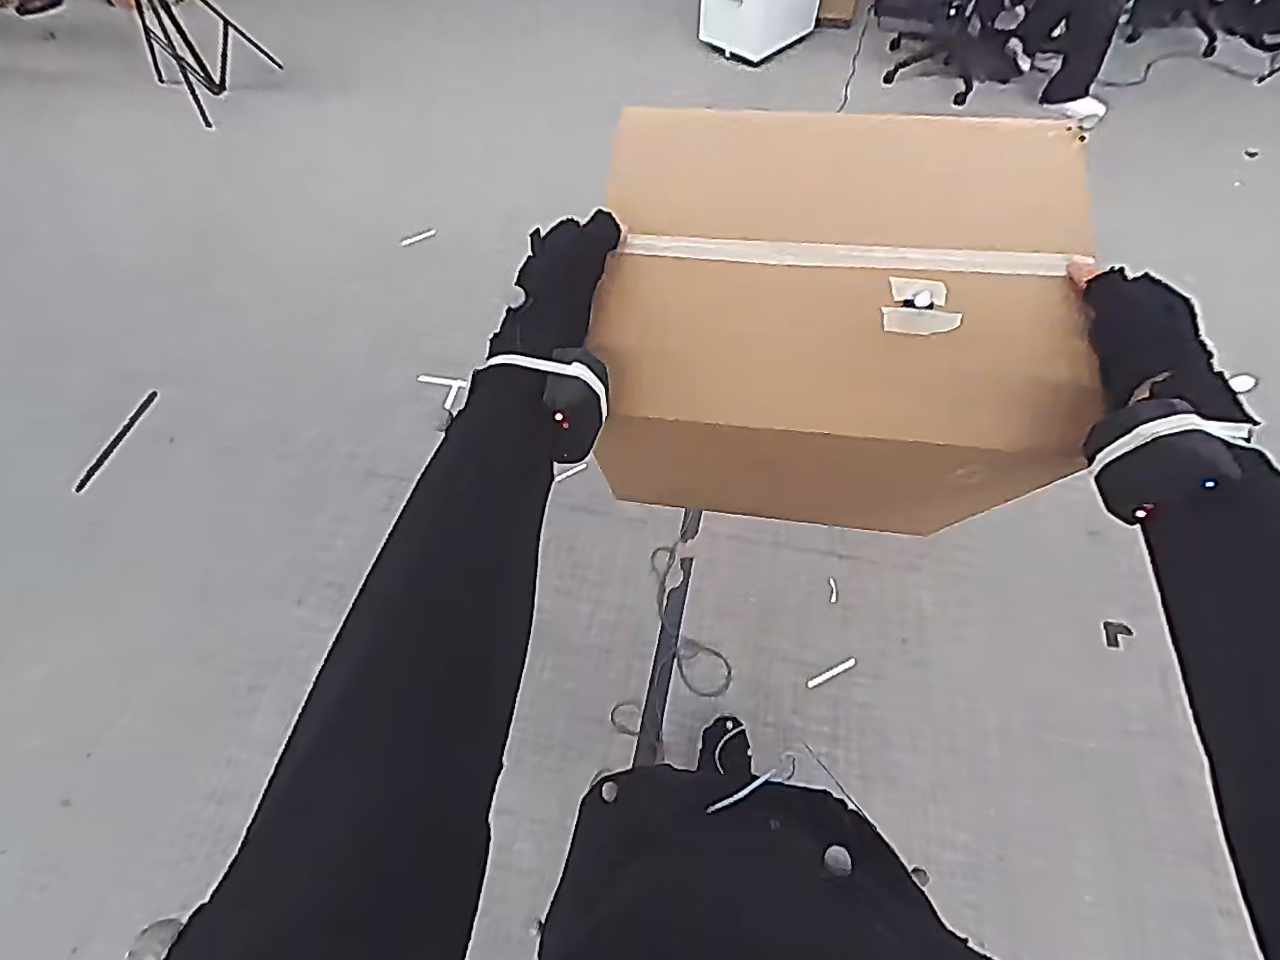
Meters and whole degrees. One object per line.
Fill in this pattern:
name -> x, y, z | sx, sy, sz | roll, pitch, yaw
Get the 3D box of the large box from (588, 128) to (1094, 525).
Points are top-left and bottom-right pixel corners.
large box -> 0.178, -0.143, 0.613 | 0.408, 0.320, 0.320 | 6, 75, 6
